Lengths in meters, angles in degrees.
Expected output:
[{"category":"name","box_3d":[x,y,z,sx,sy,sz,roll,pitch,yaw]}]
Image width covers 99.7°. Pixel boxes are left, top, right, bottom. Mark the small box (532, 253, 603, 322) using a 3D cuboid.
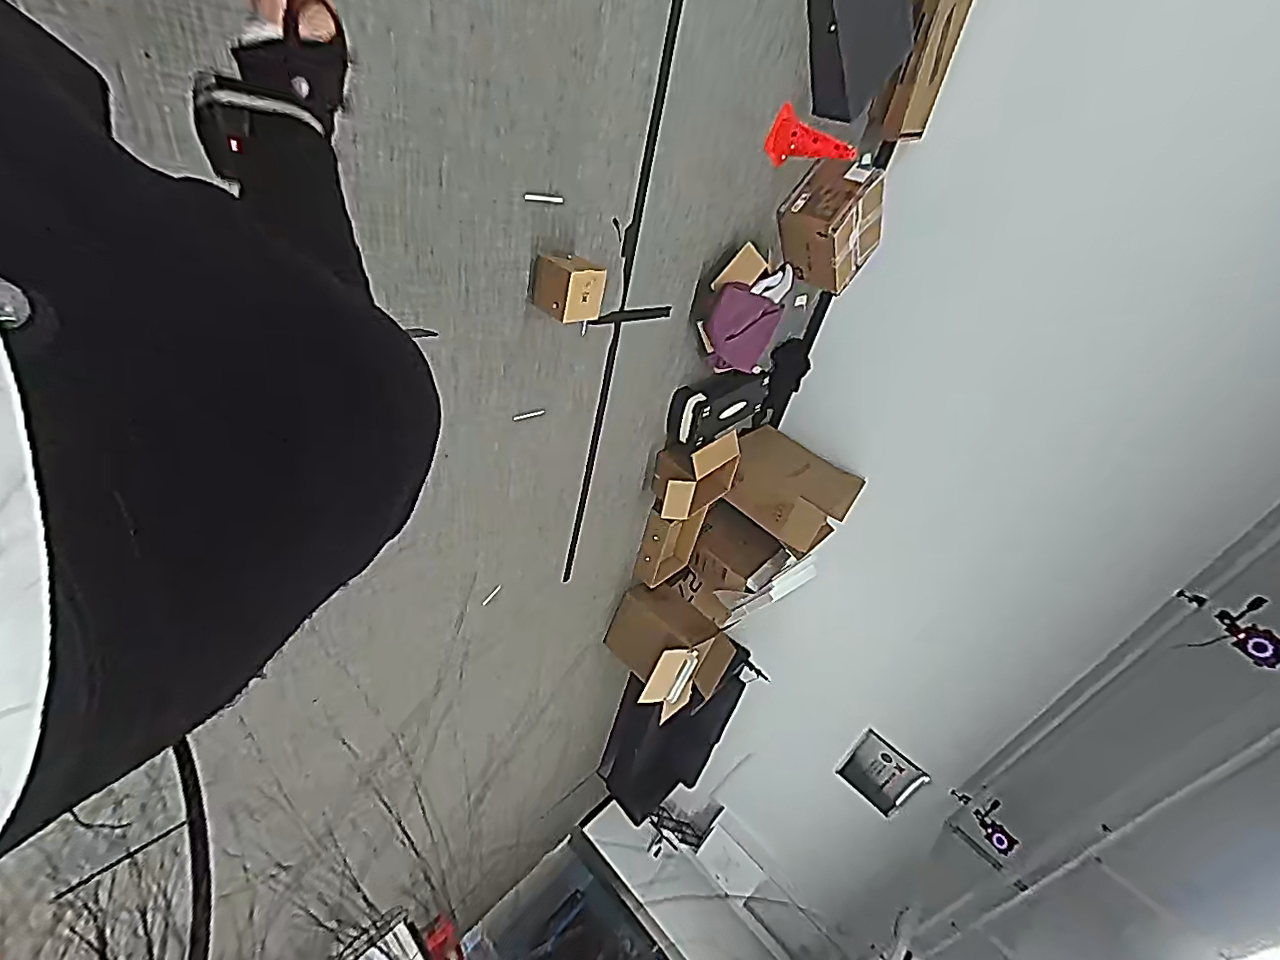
[{"category":"small box","box_3d":[-0.255,-0.665,1.864,0.168,0.176,0.179,-23,139,-44]}]
